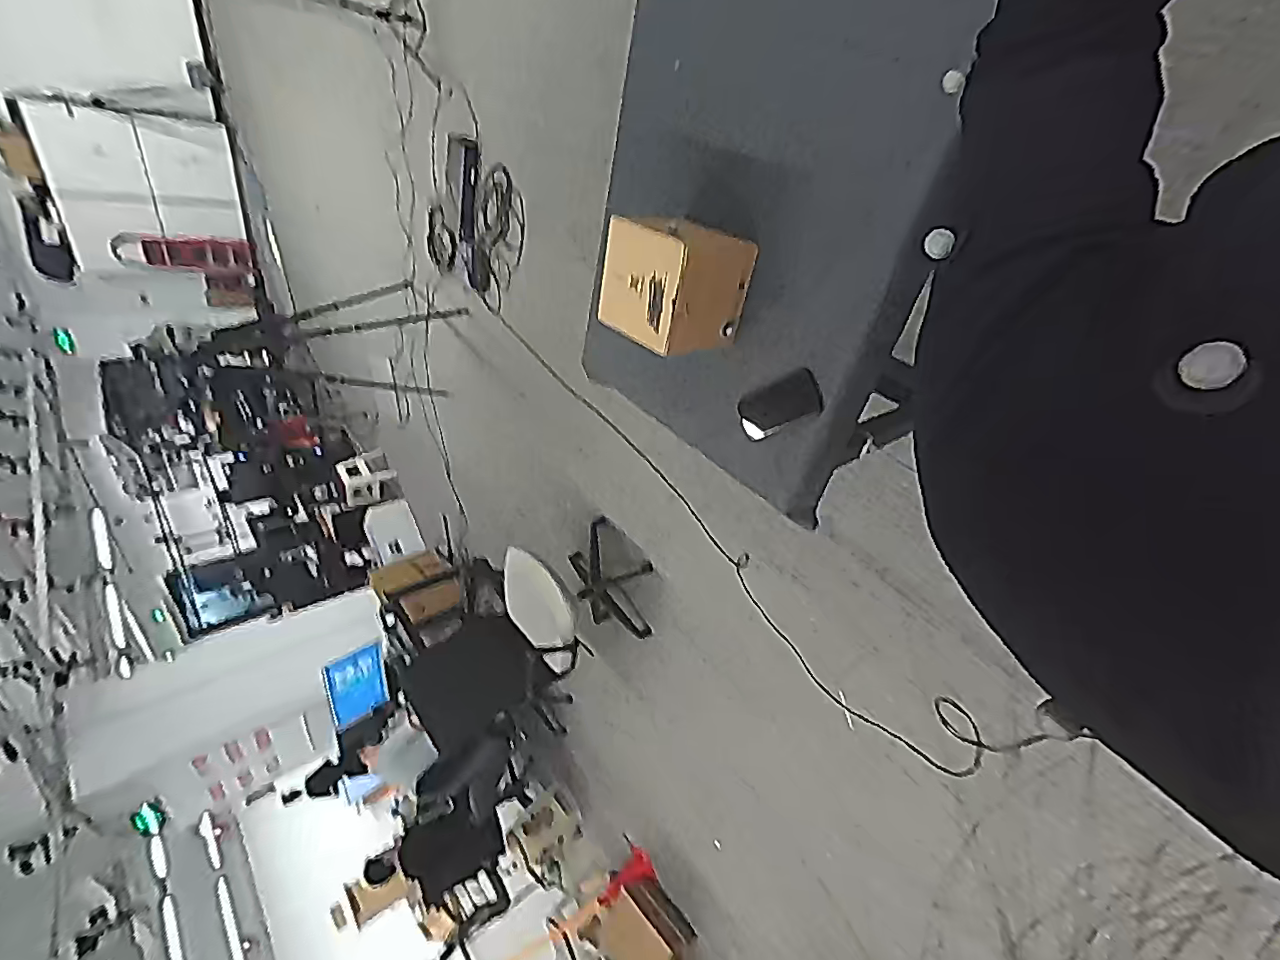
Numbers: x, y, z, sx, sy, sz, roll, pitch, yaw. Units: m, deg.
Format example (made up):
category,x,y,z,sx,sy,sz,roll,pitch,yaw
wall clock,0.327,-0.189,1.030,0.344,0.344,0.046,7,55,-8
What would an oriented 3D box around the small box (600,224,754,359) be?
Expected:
category,x,y,z,sx,sy,sz,roll,pitch,yaw
small box,0.060,-0.317,0.896,0.179,0.176,0.168,38,131,36
